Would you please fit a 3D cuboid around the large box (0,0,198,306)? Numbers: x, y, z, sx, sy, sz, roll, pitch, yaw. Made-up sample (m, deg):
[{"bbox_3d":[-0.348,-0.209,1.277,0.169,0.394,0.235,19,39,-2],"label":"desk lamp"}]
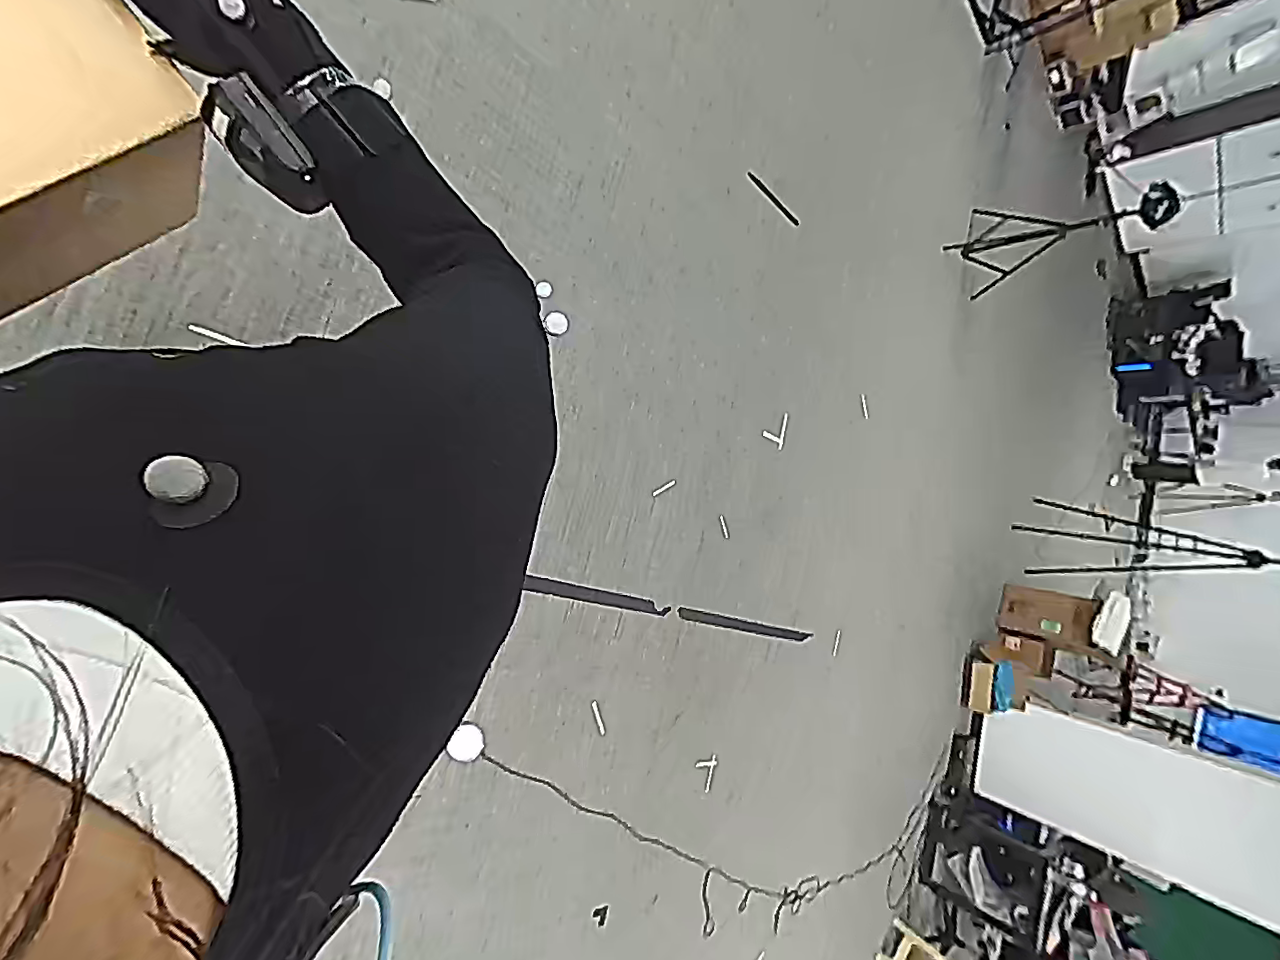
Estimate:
[{"bbox_3d":[-0.555,-0.227,0.285,0.408,0.320,0.320,-48,127,-23],"label":"large box"}]
